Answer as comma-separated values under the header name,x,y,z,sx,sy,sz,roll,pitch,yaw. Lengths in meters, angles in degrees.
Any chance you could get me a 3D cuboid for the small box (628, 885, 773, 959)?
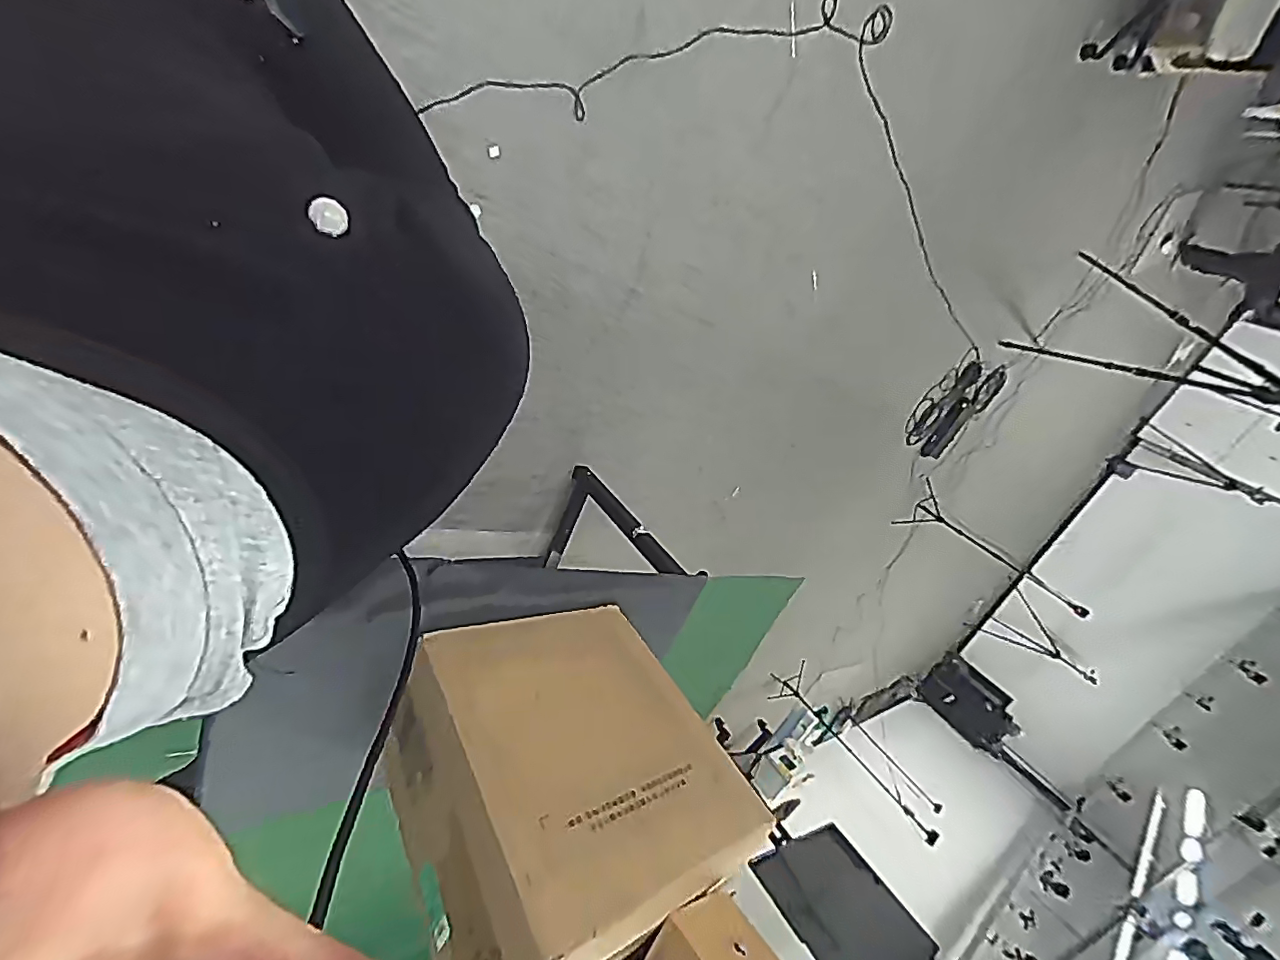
name,x,y,z,sx,sy,sz,roll,pitch,yaw
small box,0.100,0.873,0.963,0.179,0.176,0.168,21,97,-46
